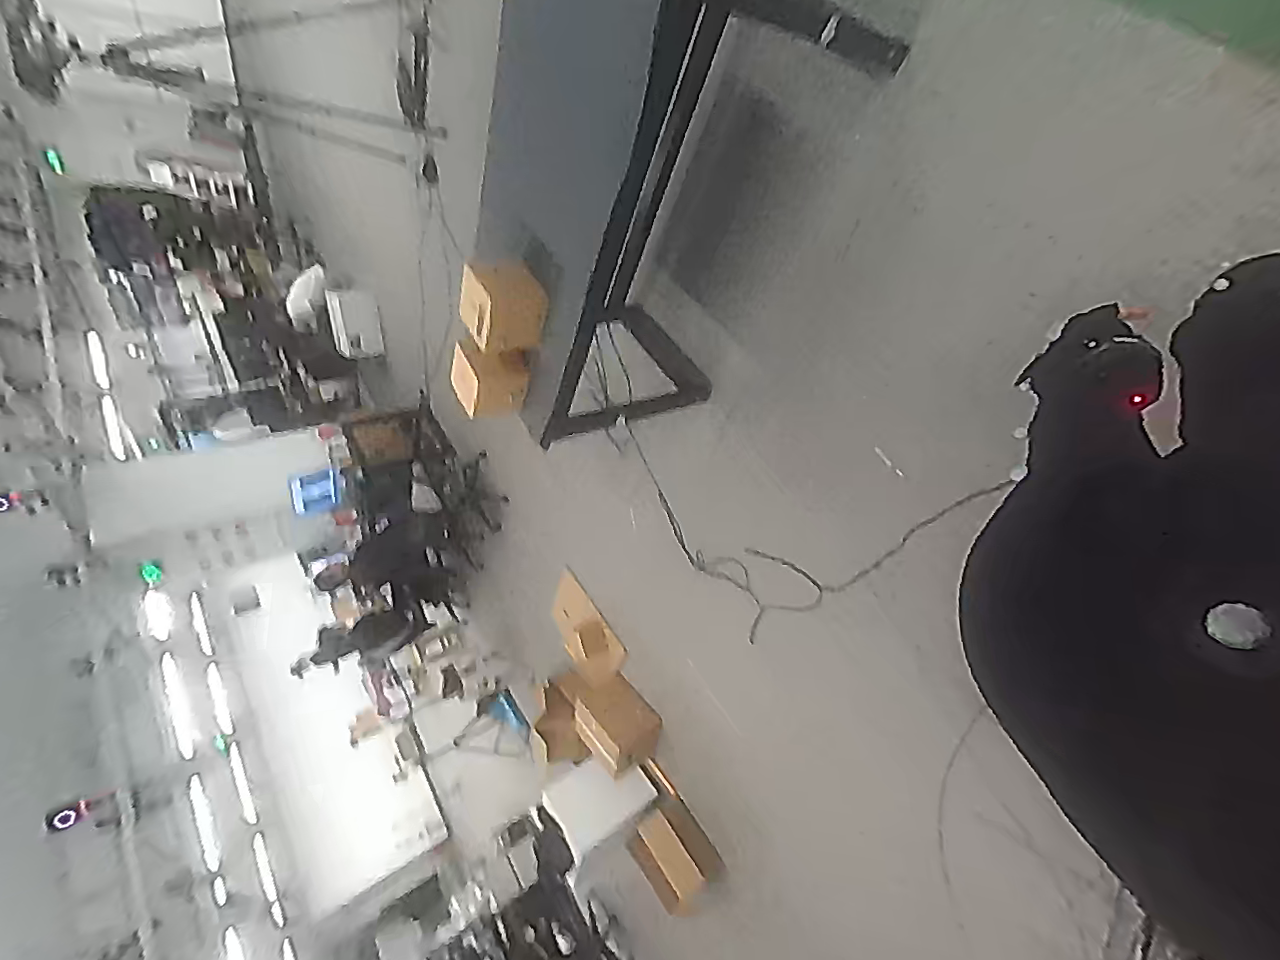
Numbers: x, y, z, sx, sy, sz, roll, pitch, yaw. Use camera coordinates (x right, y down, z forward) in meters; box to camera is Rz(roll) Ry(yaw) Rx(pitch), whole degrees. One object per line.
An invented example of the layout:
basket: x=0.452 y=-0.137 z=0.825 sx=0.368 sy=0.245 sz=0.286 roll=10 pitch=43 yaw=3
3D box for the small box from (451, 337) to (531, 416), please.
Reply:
small box: x=-0.461 y=-0.324 z=1.666 sx=0.179 sy=0.176 sz=0.168 roll=57 pitch=142 yaw=22
